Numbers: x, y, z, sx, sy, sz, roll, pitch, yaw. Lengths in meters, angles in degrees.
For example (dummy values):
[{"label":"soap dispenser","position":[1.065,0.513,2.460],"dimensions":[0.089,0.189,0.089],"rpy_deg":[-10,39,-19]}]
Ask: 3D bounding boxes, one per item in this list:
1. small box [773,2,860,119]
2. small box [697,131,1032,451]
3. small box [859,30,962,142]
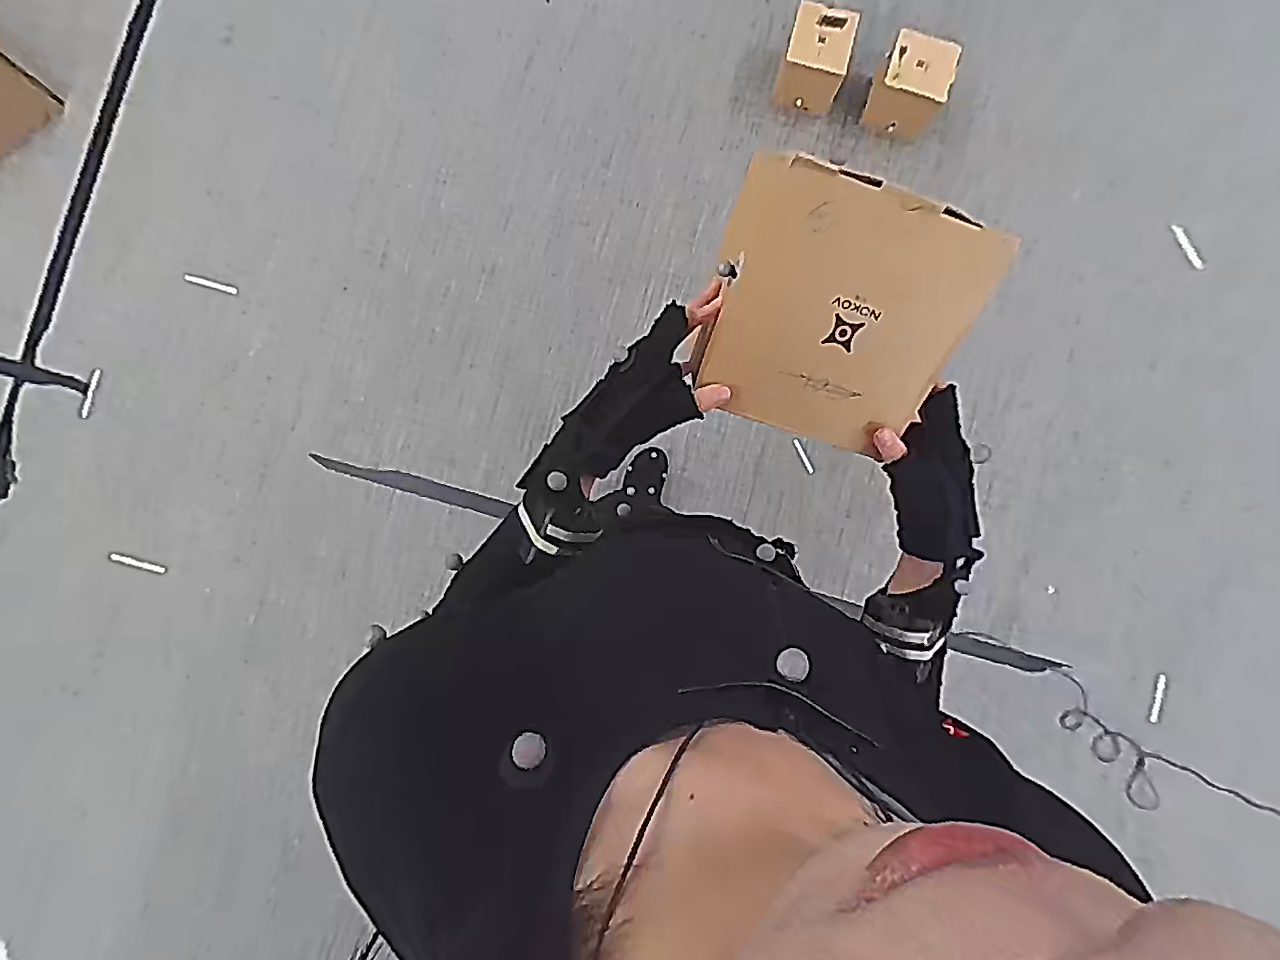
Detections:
[{"label":"small box","position":[0.487,-1.168,1.516],"dimensions":[0.168,0.176,0.179],"rpy_deg":[14,88,0]},{"label":"small box","position":[0.150,-0.157,0.442],"dimensions":[0.168,0.176,0.179],"rpy_deg":[18,121,-7]},{"label":"small box","position":[0.753,-1.095,1.520],"dimensions":[0.179,0.176,0.168],"rpy_deg":[18,87,-1]}]
